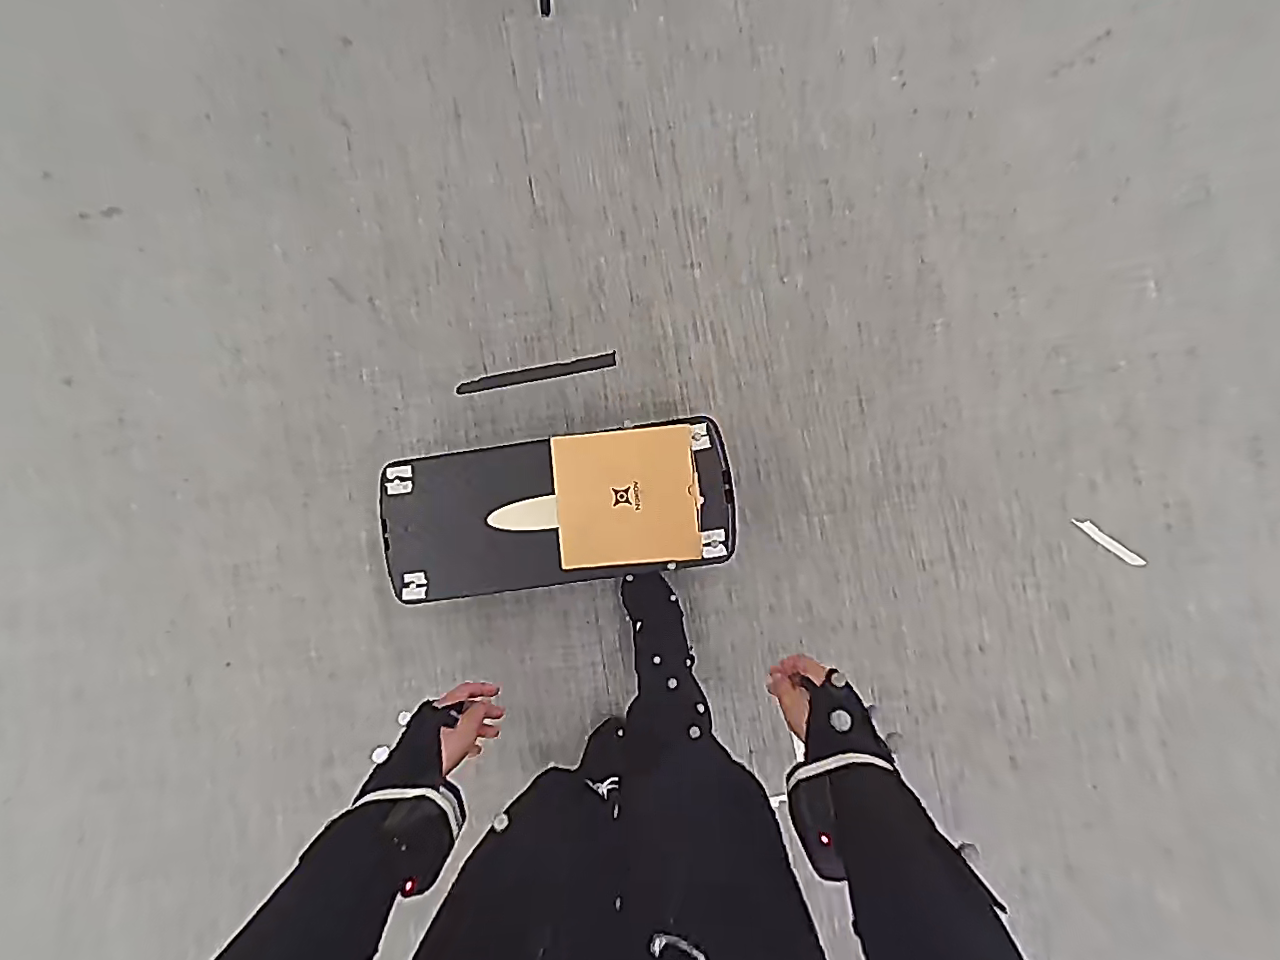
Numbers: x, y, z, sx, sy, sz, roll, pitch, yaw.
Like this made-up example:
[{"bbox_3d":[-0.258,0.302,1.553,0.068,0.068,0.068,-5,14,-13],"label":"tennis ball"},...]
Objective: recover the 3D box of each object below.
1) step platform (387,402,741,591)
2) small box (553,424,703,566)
[{"bbox_3d":[-0.144,0.037,1.086,0.684,0.204,0.286,-9,87,4],"label":"step platform"},{"bbox_3d":[-0.011,0.023,0.741,0.179,0.176,0.168,-6,88,3],"label":"small box"}]
